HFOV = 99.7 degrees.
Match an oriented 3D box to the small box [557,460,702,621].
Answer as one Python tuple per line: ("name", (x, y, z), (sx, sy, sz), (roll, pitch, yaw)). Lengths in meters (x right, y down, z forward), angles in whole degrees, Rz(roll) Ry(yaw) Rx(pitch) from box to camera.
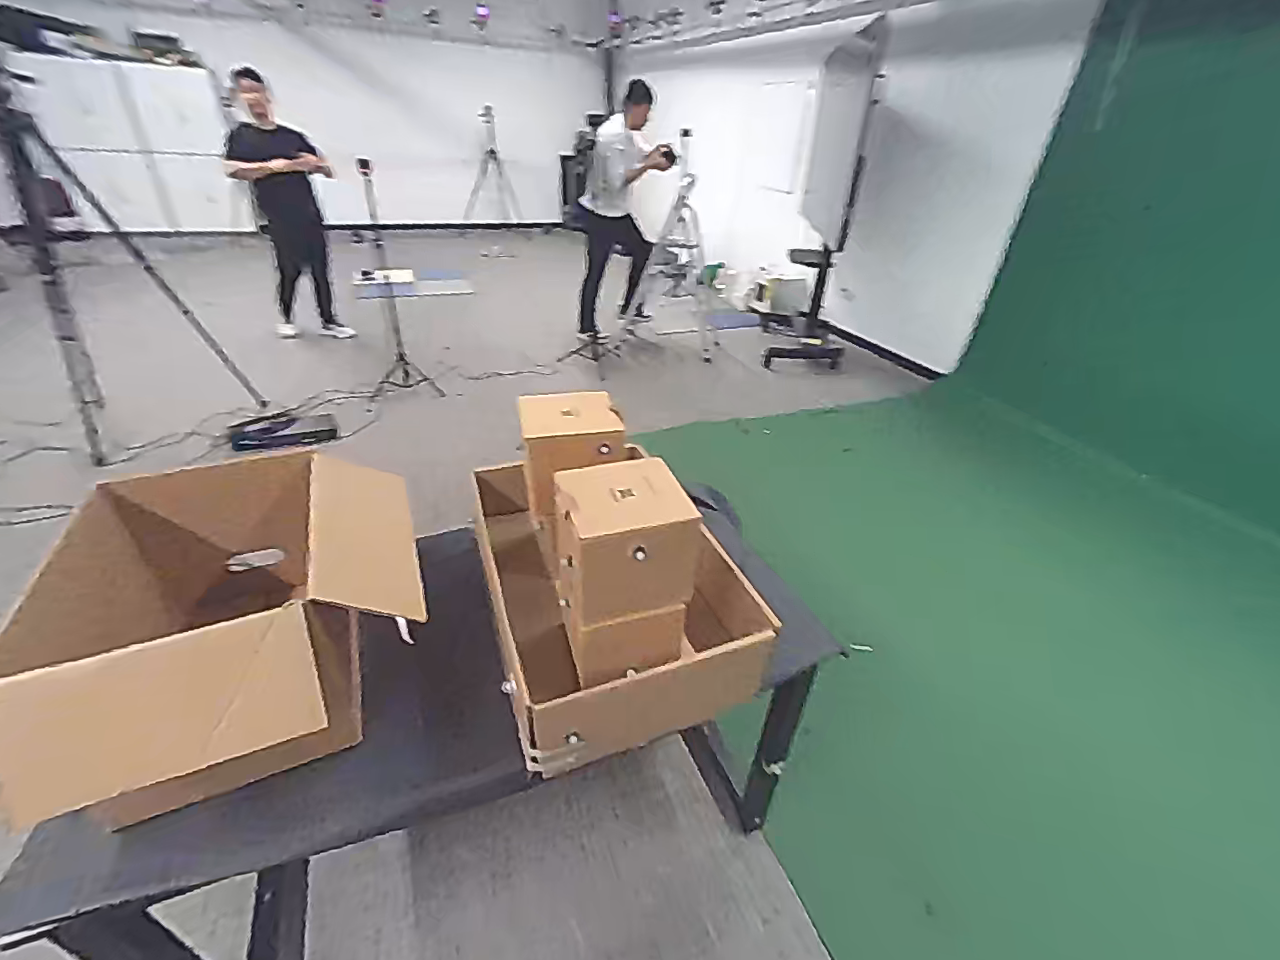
("small box", (-0.023, 0.091, 0.825), (0.179, 0.176, 0.168), (-8, 36, -17))

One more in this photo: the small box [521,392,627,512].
("small box", (-0.127, -0.053, 1.028), (0.179, 0.176, 0.168), (-5, 36, -14))
